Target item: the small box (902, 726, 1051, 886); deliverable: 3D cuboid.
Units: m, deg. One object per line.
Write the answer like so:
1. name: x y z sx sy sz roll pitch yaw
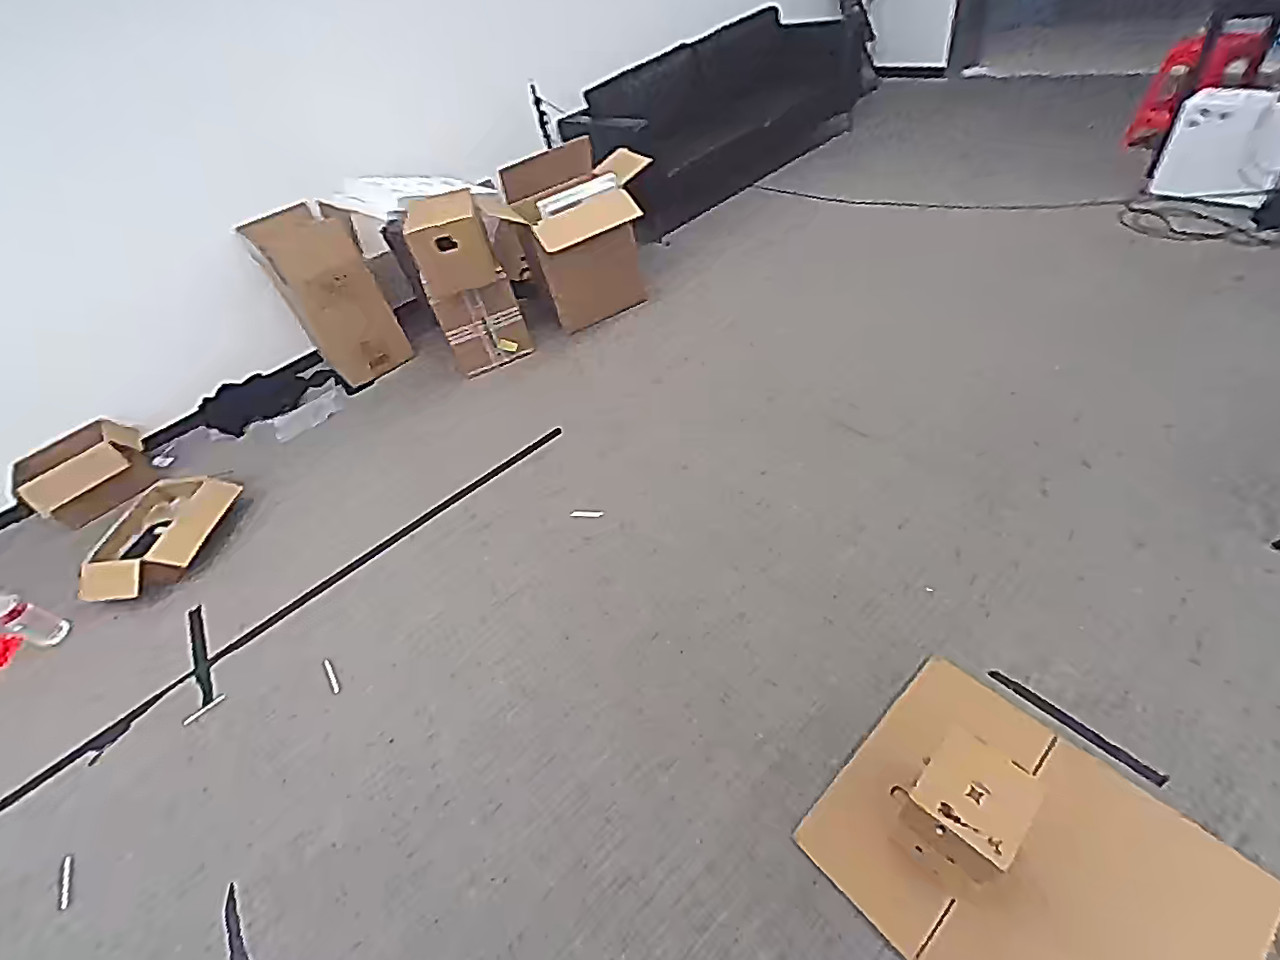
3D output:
1. small box: 0.615 0.608 1.009 0.179 0.176 0.168 -40 49 -22

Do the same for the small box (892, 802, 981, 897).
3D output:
1. small box: 0.647 0.721 1.125 0.179 0.176 0.168 -40 49 -21
